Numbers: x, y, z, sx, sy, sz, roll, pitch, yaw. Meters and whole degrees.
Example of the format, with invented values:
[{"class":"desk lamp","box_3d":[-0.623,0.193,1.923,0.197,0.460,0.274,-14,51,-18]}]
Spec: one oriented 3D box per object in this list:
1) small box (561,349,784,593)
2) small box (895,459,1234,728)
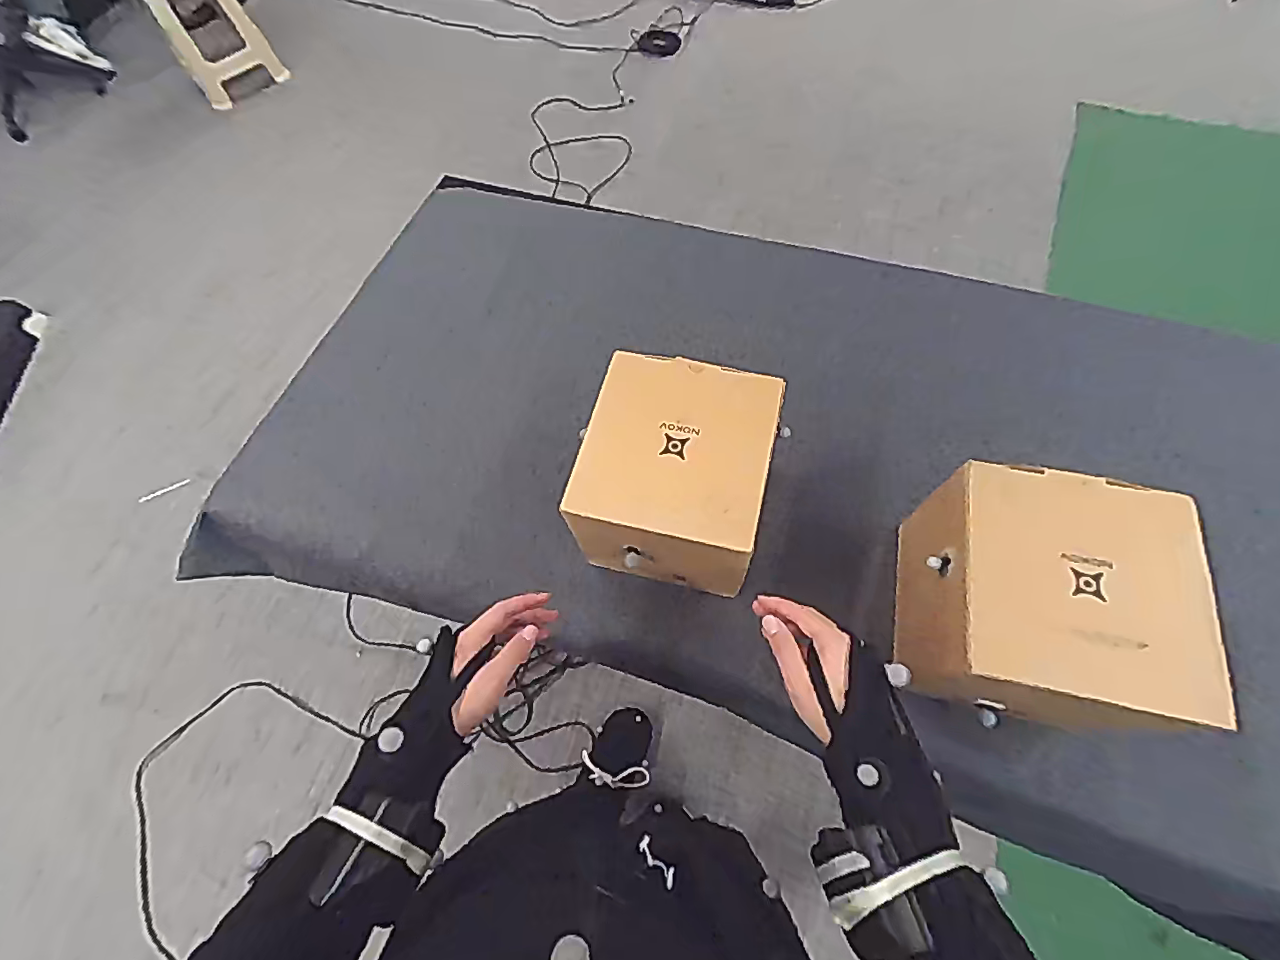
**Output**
[{"class":"small box","box_3d":[0.038,0.000,0.546,0.168,0.176,0.179,12,65,10]},{"class":"small box","box_3d":[0.339,0.106,0.476,0.168,0.176,0.179,10,67,10]}]
